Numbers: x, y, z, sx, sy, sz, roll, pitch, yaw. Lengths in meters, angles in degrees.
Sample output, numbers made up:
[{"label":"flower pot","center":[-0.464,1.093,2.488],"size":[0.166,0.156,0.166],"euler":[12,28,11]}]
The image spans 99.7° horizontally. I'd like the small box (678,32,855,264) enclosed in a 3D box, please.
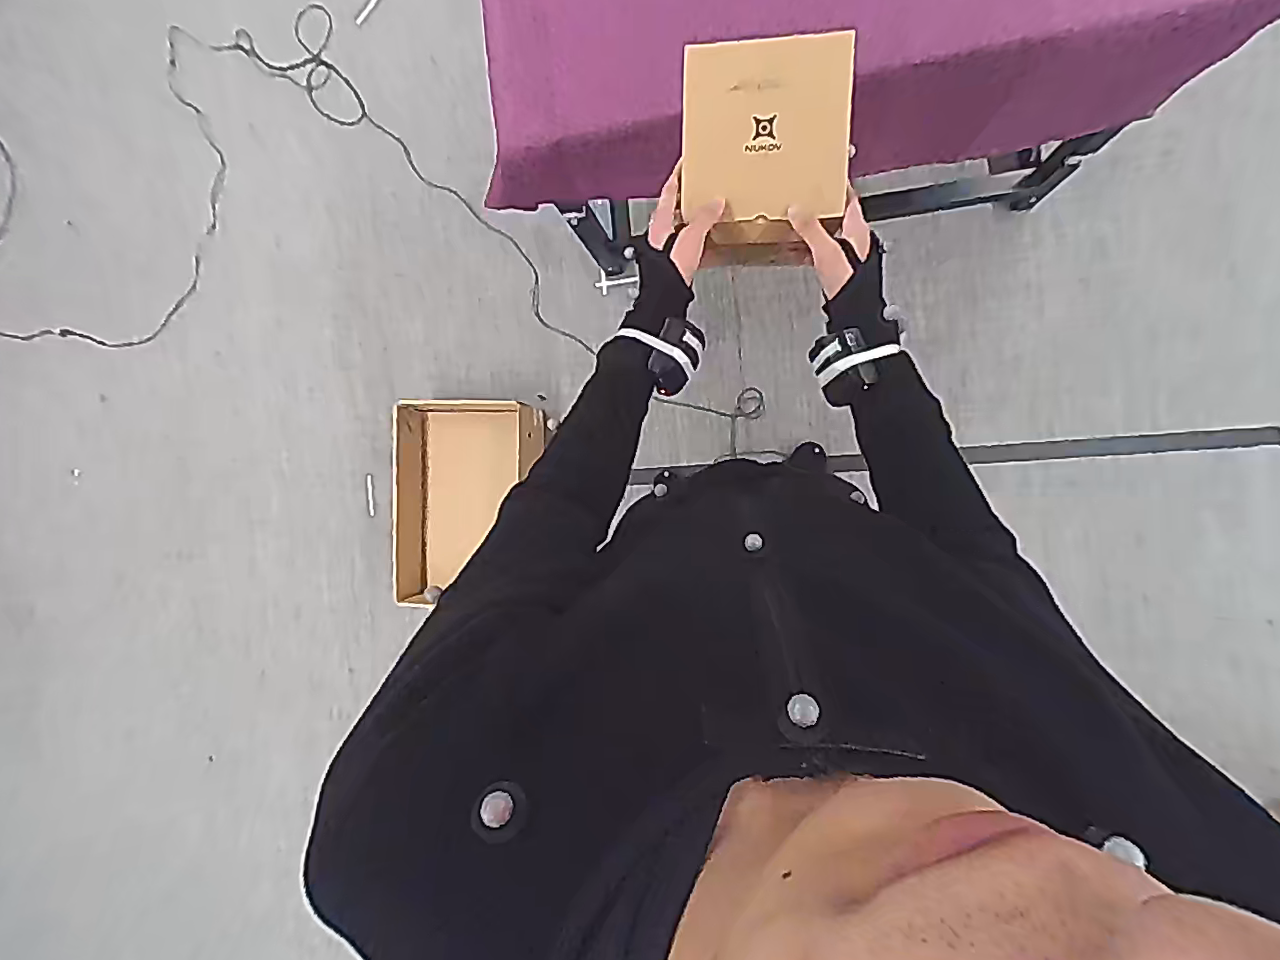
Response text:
[{"label":"small box","center":[0.135,-0.354,0.616],"size":[0.168,0.176,0.179],"euler":[2,97,8]}]
